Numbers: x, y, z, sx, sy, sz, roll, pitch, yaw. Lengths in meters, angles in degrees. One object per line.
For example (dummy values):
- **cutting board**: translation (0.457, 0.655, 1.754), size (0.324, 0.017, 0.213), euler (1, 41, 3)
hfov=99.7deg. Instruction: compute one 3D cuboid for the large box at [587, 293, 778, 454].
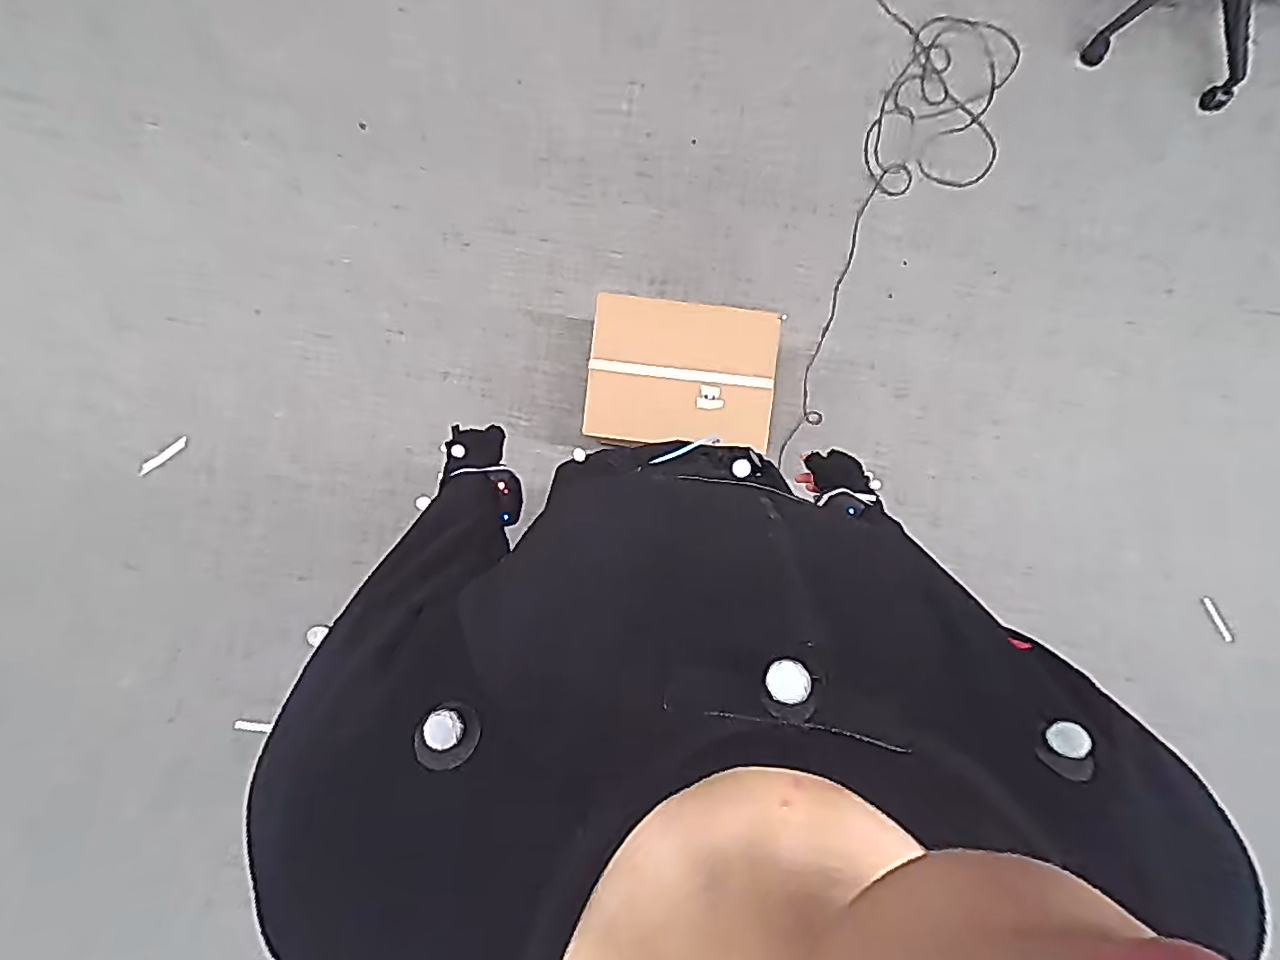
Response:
- **large box**: translation (0.089, -0.240, 1.334), size (0.408, 0.320, 0.320), euler (6, 92, -1)
